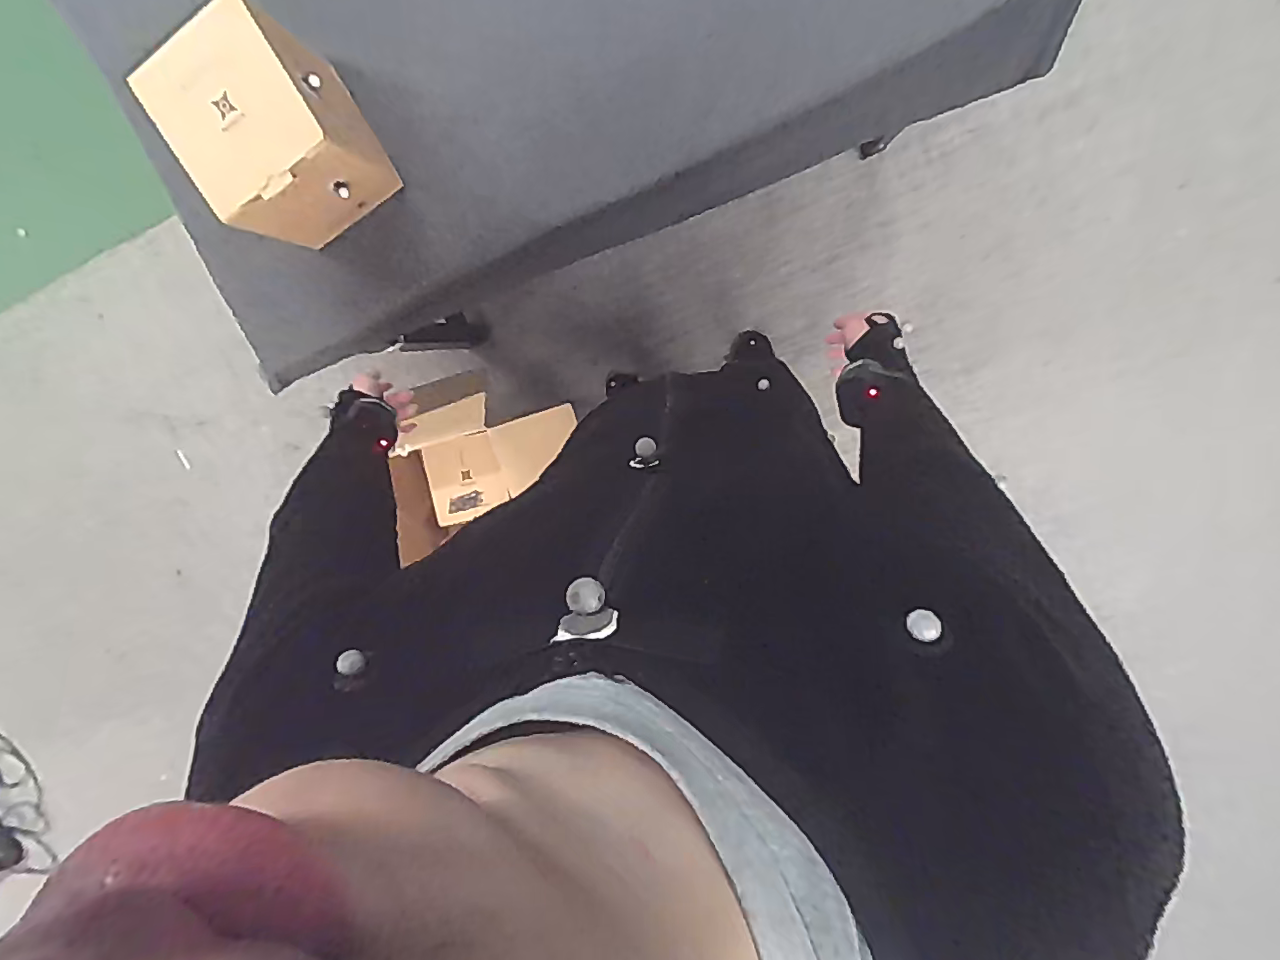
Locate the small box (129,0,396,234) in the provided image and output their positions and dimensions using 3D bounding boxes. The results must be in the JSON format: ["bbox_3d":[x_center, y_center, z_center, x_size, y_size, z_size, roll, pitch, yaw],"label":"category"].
[{"bbox_3d":[-0.446,-0.431,0.672,0.168,0.176,0.179,-29,98,11],"label":"small box"}]
